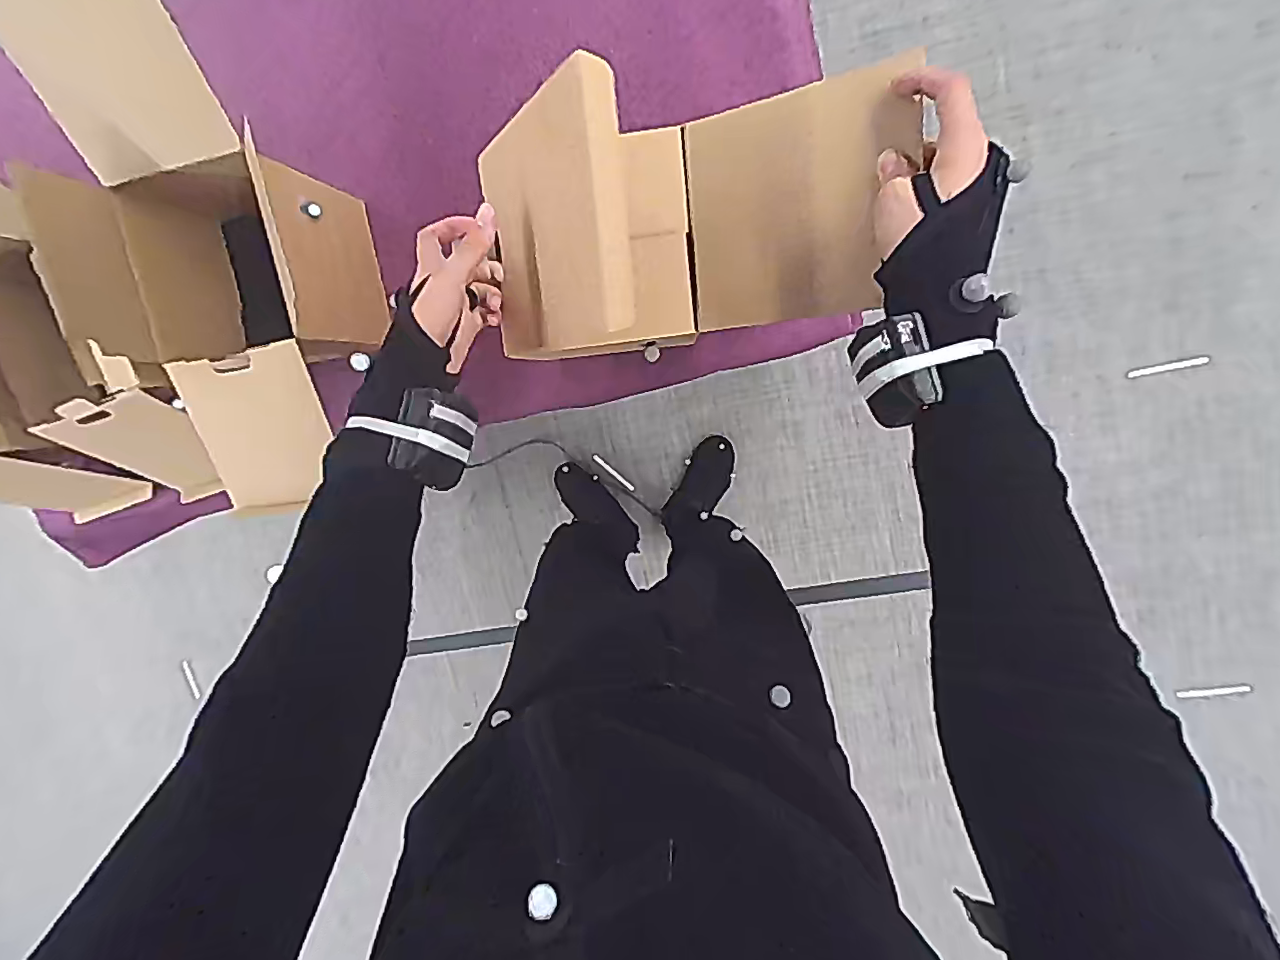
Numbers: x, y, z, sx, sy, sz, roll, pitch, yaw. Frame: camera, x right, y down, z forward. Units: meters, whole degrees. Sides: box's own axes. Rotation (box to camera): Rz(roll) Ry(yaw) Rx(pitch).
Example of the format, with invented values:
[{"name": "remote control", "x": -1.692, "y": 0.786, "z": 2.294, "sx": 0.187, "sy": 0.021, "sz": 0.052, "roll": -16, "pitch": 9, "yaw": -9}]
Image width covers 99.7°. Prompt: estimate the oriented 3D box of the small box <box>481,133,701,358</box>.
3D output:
[{"name": "small box", "x": -0.036, "y": -0.212, "z": 0.535, "sx": 0.179, "sy": 0.176, "sz": 0.168, "roll": -4, "pitch": 100, "yaw": 4}]
